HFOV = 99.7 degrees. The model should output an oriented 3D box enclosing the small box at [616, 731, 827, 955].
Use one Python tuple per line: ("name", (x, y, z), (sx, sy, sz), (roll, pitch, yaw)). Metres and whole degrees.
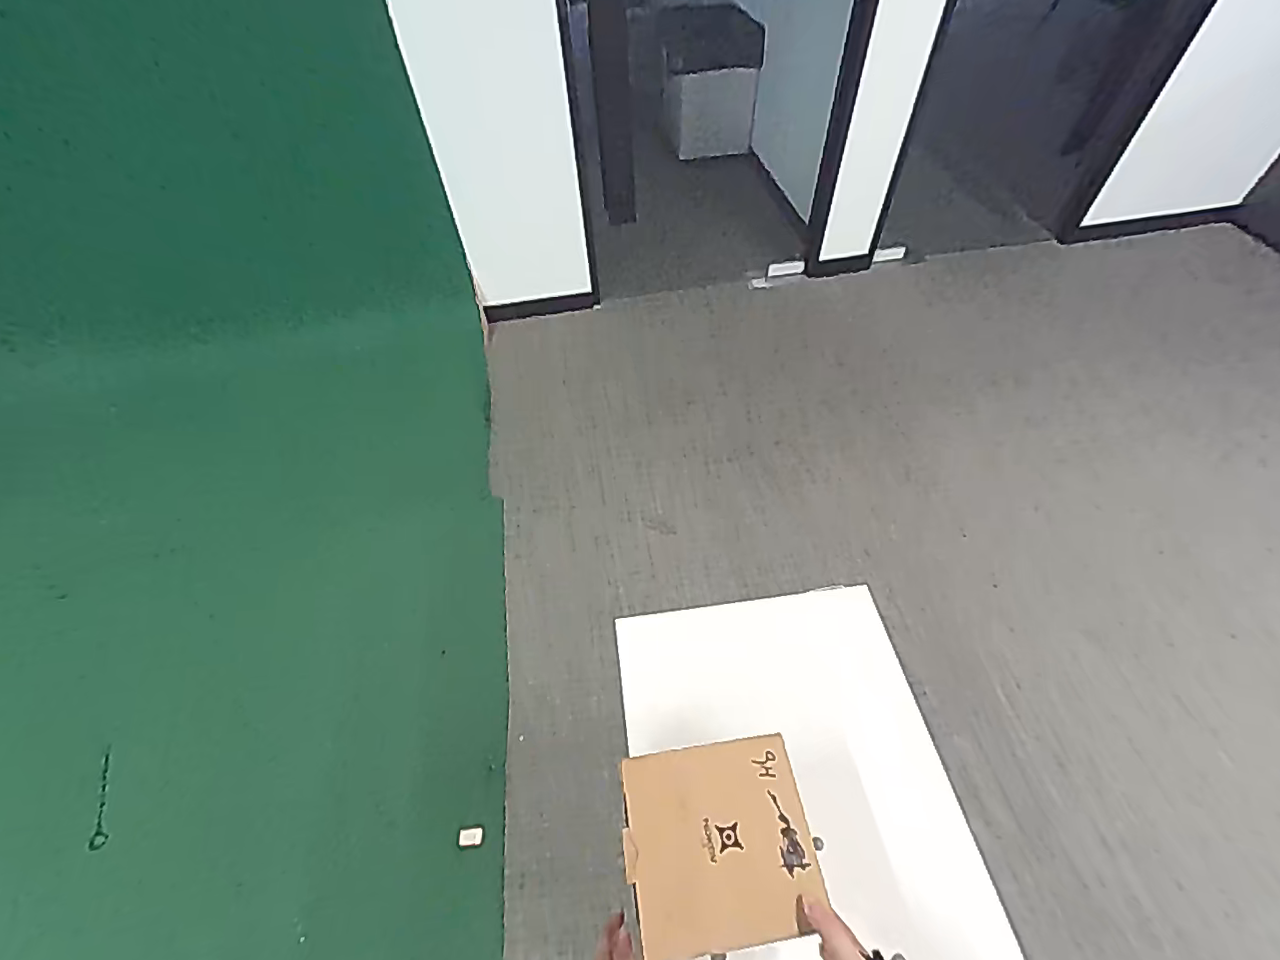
("small box", (0.074, 0.390, 0.582), (0.179, 0.176, 0.168), (-7, 52, -4))
